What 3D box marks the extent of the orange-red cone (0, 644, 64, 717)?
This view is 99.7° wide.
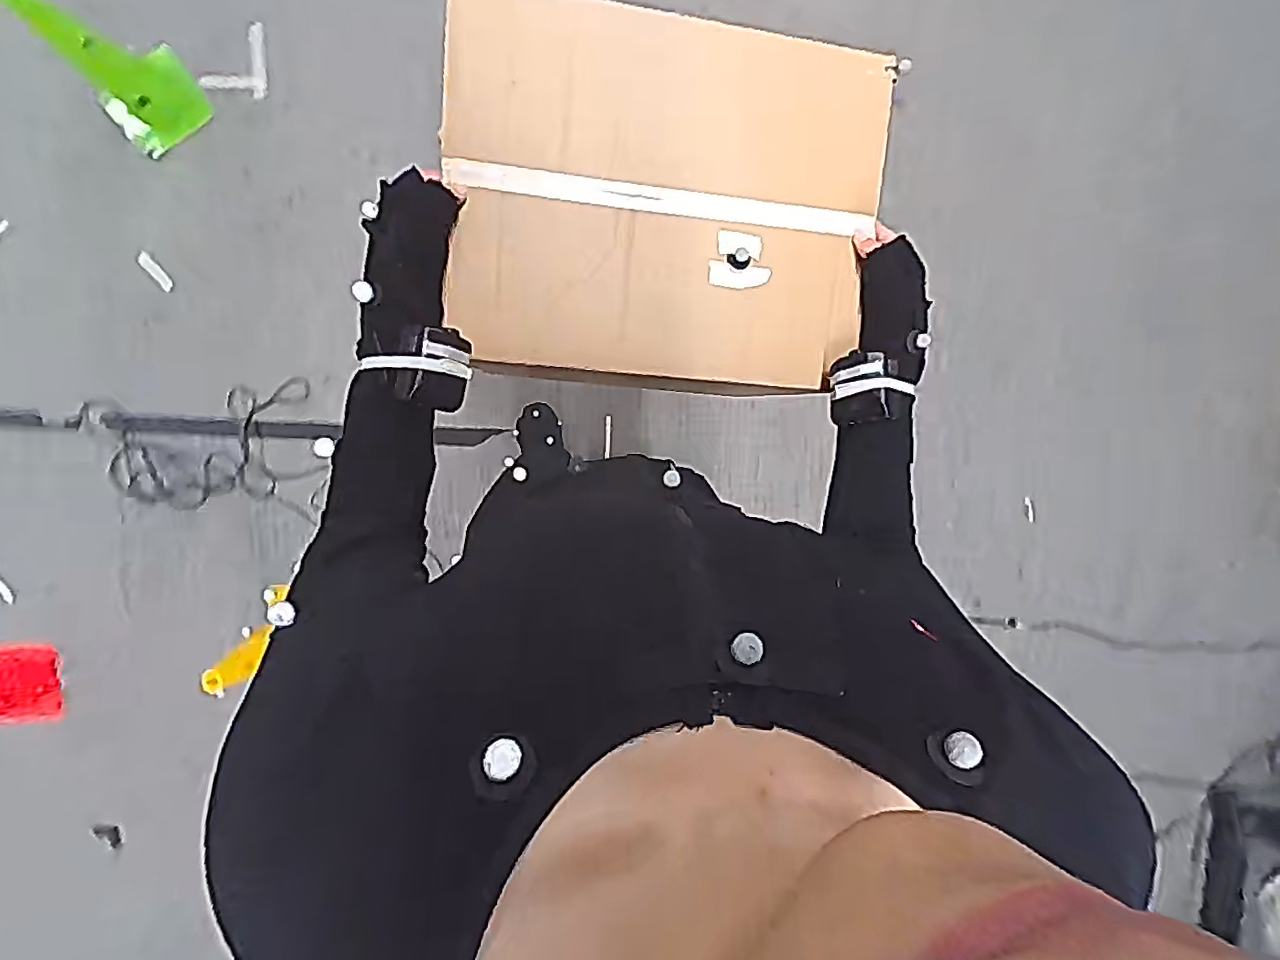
[{"bbox_3d":[-1.615,0.545,1.254,0.199,0.360,0.198,-1,96,-5],"label":"orange-red cone"}]

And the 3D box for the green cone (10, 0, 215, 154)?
[{"bbox_3d":[-1.170,-0.924,1.161,0.200,0.368,0.202,-36,94,-1],"label":"green cone"}]

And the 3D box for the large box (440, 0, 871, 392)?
[{"bbox_3d":[-0.004,-0.275,0.649,0.408,0.320,0.320,2,98,-10],"label":"large box"}]
